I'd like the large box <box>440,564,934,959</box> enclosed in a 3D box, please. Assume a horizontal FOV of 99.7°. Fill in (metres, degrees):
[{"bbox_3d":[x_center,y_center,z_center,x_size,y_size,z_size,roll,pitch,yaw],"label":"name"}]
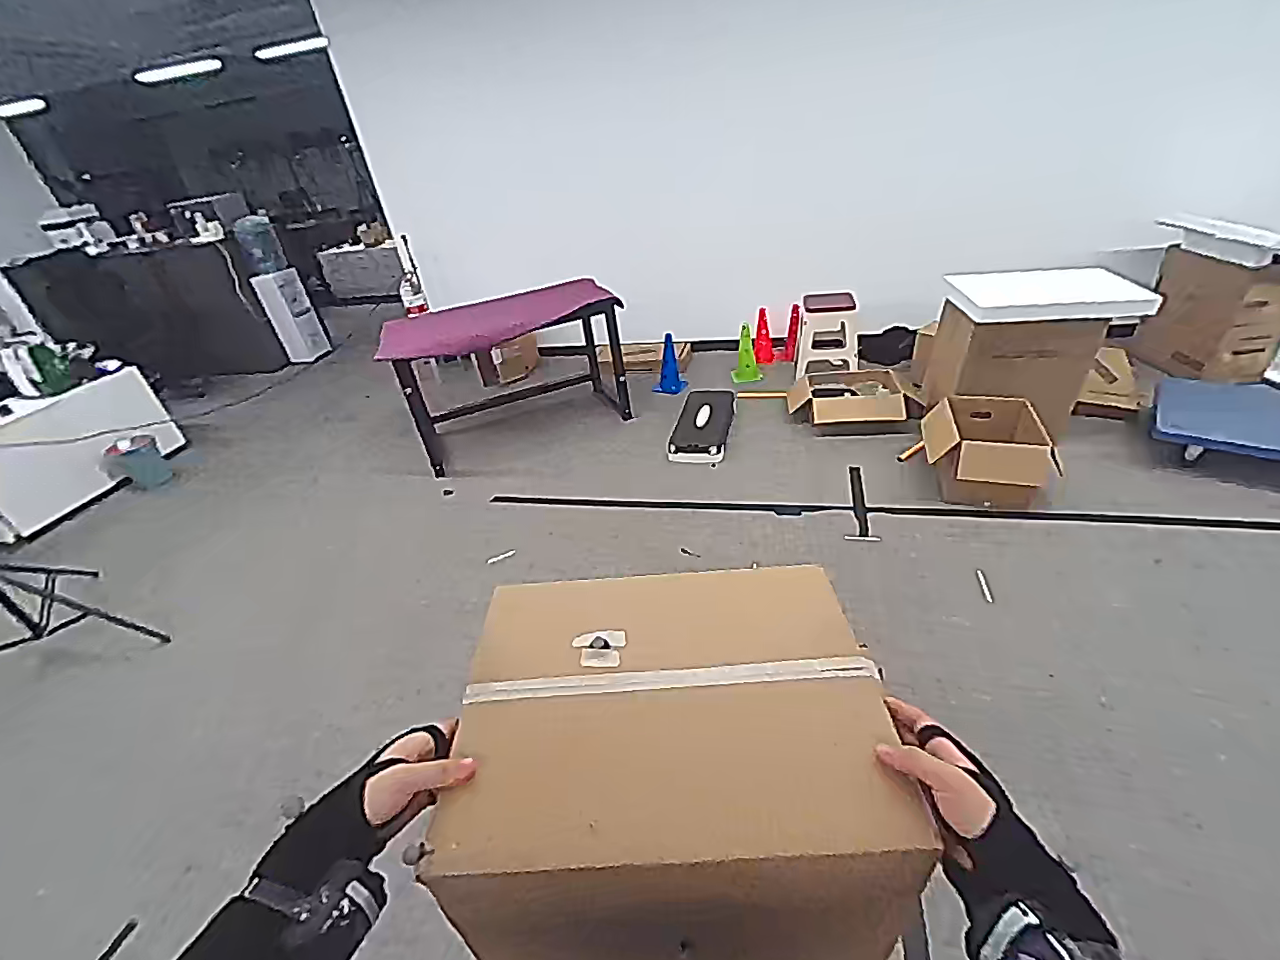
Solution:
[{"bbox_3d":[0.047,0.331,0.633,0.408,0.320,0.320,-6,33,2],"label":"large box"}]
